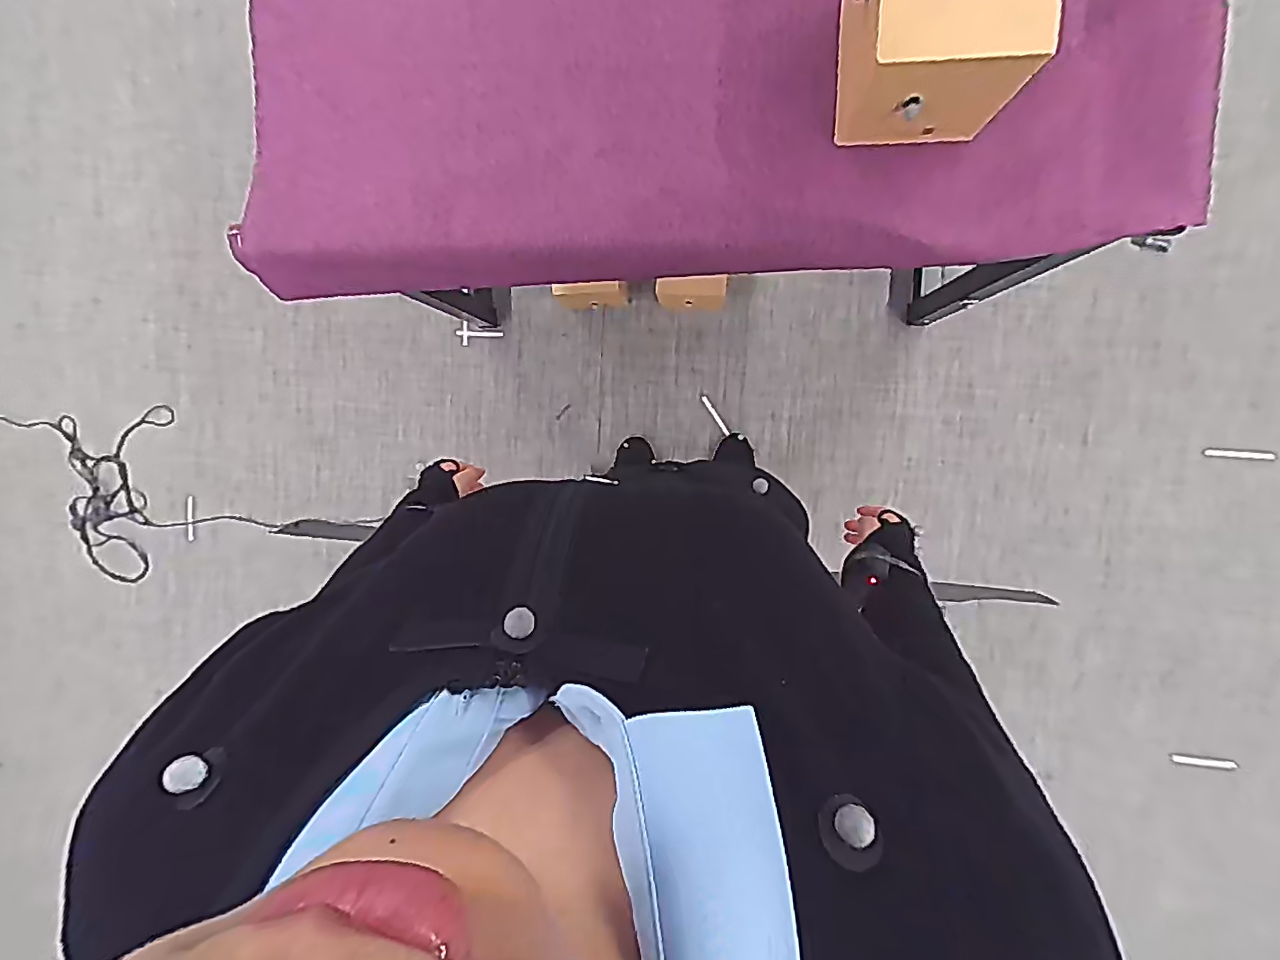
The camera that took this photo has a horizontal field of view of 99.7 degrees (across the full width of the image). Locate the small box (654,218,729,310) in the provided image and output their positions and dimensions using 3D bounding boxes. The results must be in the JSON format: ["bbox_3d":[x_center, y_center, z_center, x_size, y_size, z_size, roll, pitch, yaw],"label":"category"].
[{"bbox_3d":[0.130,-0.530,1.349,0.168,0.176,0.179,4,96,5],"label":"small box"}]

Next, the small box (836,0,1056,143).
[{"bbox_3d":[0.322,-0.497,0.595,0.168,0.176,0.179,2,96,6],"label":"small box"}]
